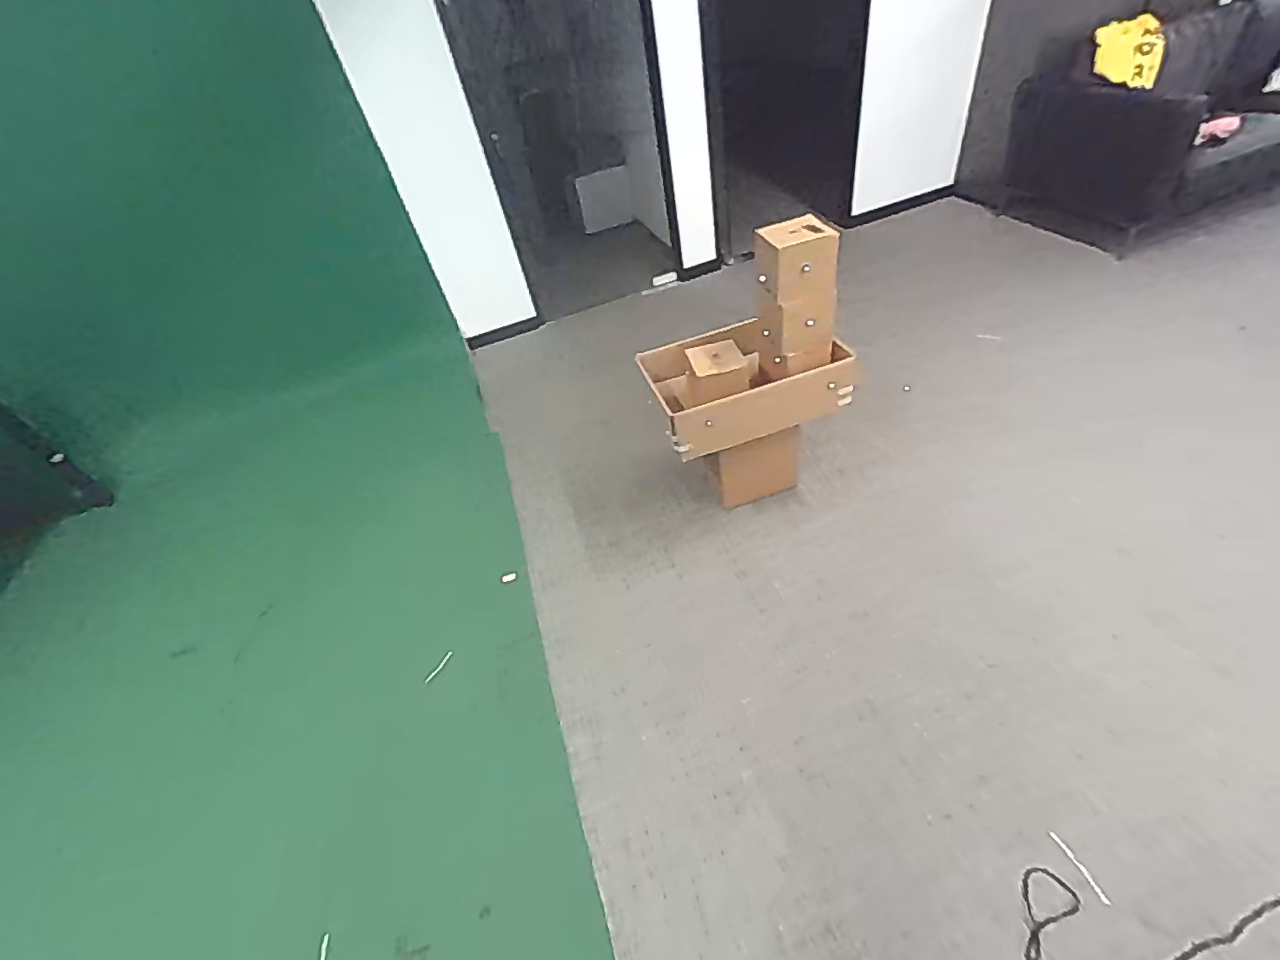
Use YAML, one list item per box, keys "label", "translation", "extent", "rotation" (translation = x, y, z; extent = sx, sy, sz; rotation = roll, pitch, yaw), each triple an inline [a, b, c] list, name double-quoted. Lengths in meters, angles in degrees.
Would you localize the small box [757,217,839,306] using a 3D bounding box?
- label: "small box"
  translation: [0.451, -0.632, 1.567]
  extent: [0.179, 0.176, 0.168]
  rotation: [-17, 43, -3]
